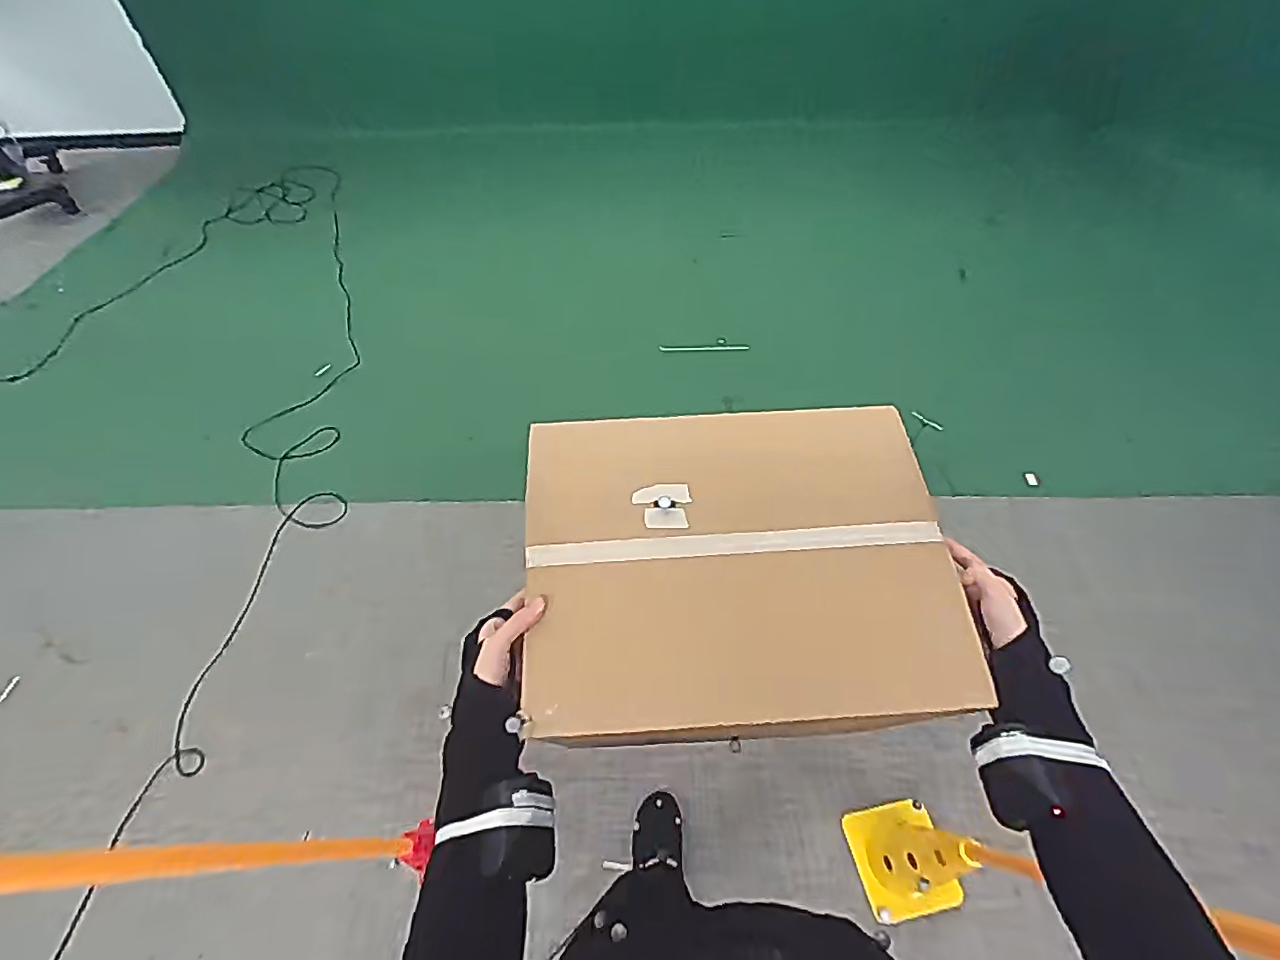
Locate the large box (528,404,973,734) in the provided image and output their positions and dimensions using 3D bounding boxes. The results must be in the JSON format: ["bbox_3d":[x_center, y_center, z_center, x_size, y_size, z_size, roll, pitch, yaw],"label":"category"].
[{"bbox_3d":[0.094,0.131,0.673,0.408,0.320,0.320,-4,62,0],"label":"large box"}]
